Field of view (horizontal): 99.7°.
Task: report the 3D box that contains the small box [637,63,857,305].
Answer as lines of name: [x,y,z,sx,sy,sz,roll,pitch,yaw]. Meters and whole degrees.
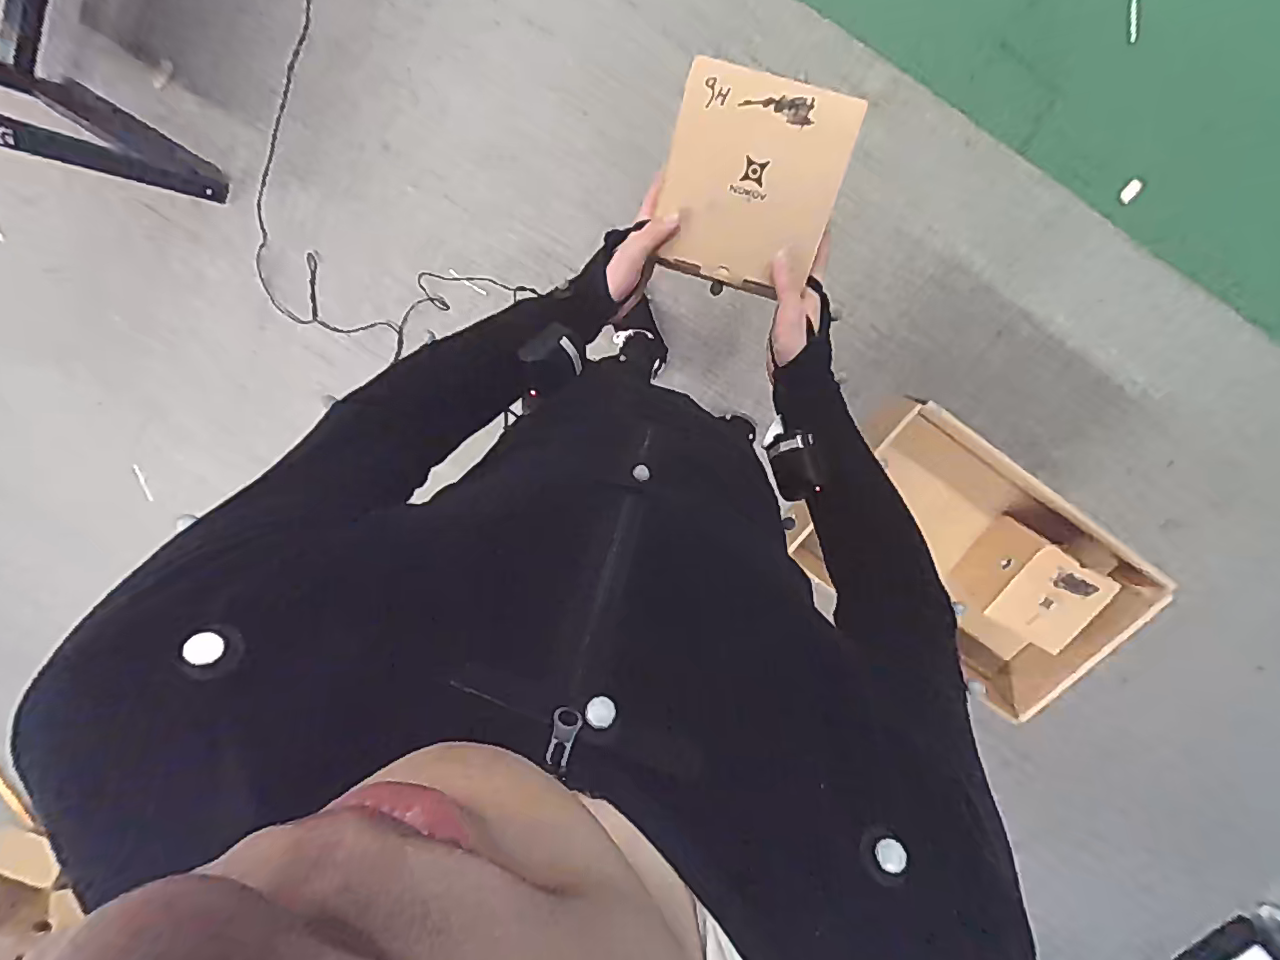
small box: [0.107,-0.300,0.588,0.168,0.176,0.179,17,109,2]
